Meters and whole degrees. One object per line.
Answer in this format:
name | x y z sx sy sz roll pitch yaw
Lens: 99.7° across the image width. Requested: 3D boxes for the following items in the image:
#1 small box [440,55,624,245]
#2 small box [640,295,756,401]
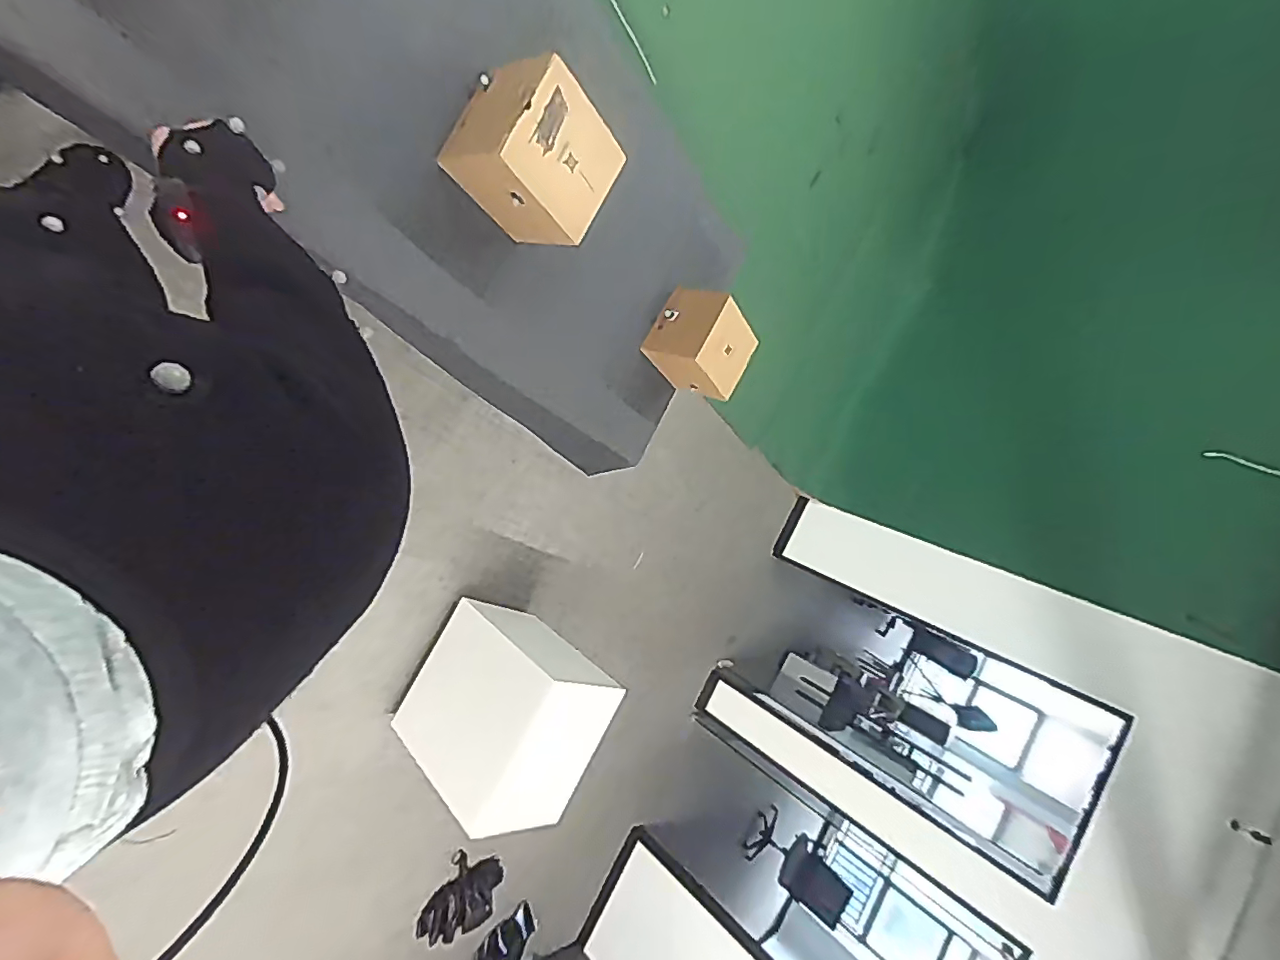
small box | -0.163 -0.481 0.812 0.179 0.176 0.168 34 82 -52
small box | 0.133 -0.308 1.244 0.179 0.176 0.168 35 80 -50
